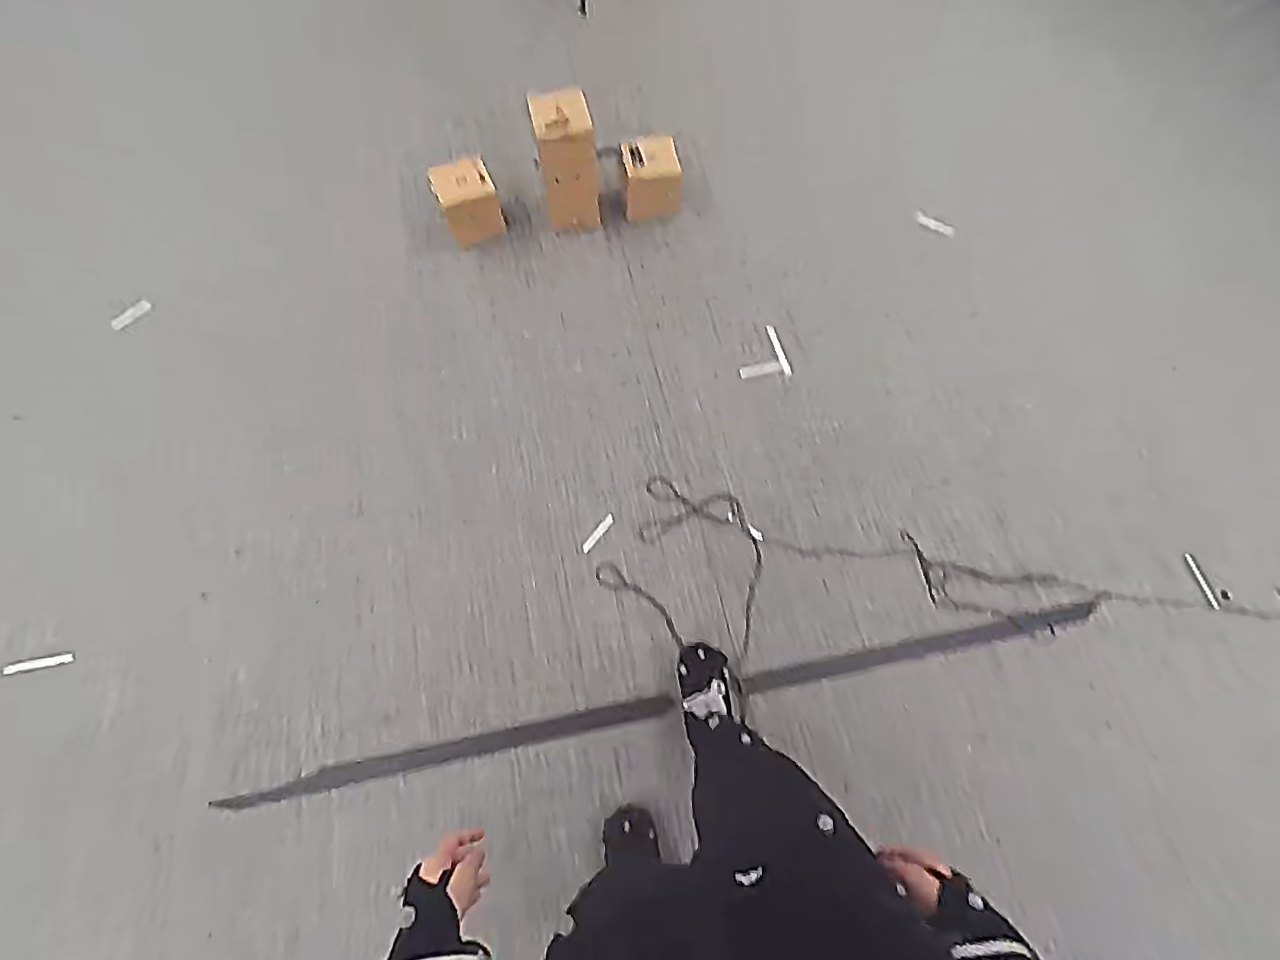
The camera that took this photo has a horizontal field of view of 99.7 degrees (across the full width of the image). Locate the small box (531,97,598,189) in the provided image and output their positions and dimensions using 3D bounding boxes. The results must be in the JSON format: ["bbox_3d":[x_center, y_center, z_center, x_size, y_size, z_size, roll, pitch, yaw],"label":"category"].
[{"bbox_3d":[-0.224,-1.005,1.627,0.168,0.176,0.179,-11,68,-6],"label":"small box"}]

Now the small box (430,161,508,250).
[{"bbox_3d":[-0.547,-0.881,1.747,0.179,0.176,0.168,-23,71,-9],"label":"small box"}]

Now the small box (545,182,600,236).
[{"bbox_3d":[-0.223,-0.936,1.776,0.168,0.176,0.179,-8,69,-4],"label":"small box"}]
